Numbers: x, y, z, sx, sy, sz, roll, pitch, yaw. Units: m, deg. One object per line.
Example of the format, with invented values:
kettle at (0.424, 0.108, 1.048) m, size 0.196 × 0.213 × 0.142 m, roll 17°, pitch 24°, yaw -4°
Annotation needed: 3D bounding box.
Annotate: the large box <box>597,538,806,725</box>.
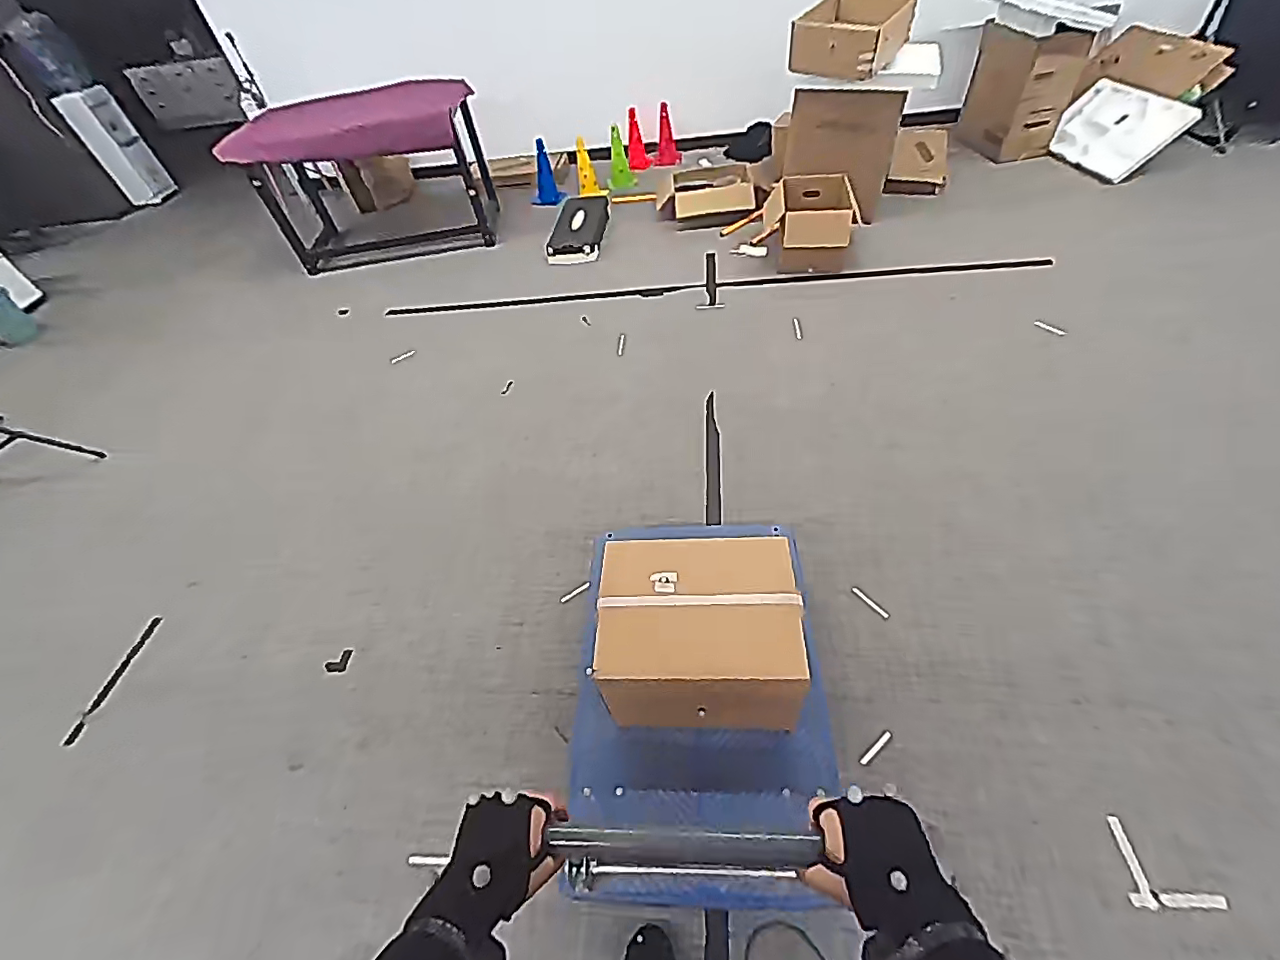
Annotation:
large box at (0.137, 0.355, 1.234) m, size 0.408 × 0.320 × 0.320 m, roll -4°, pitch 49°, yaw 7°
